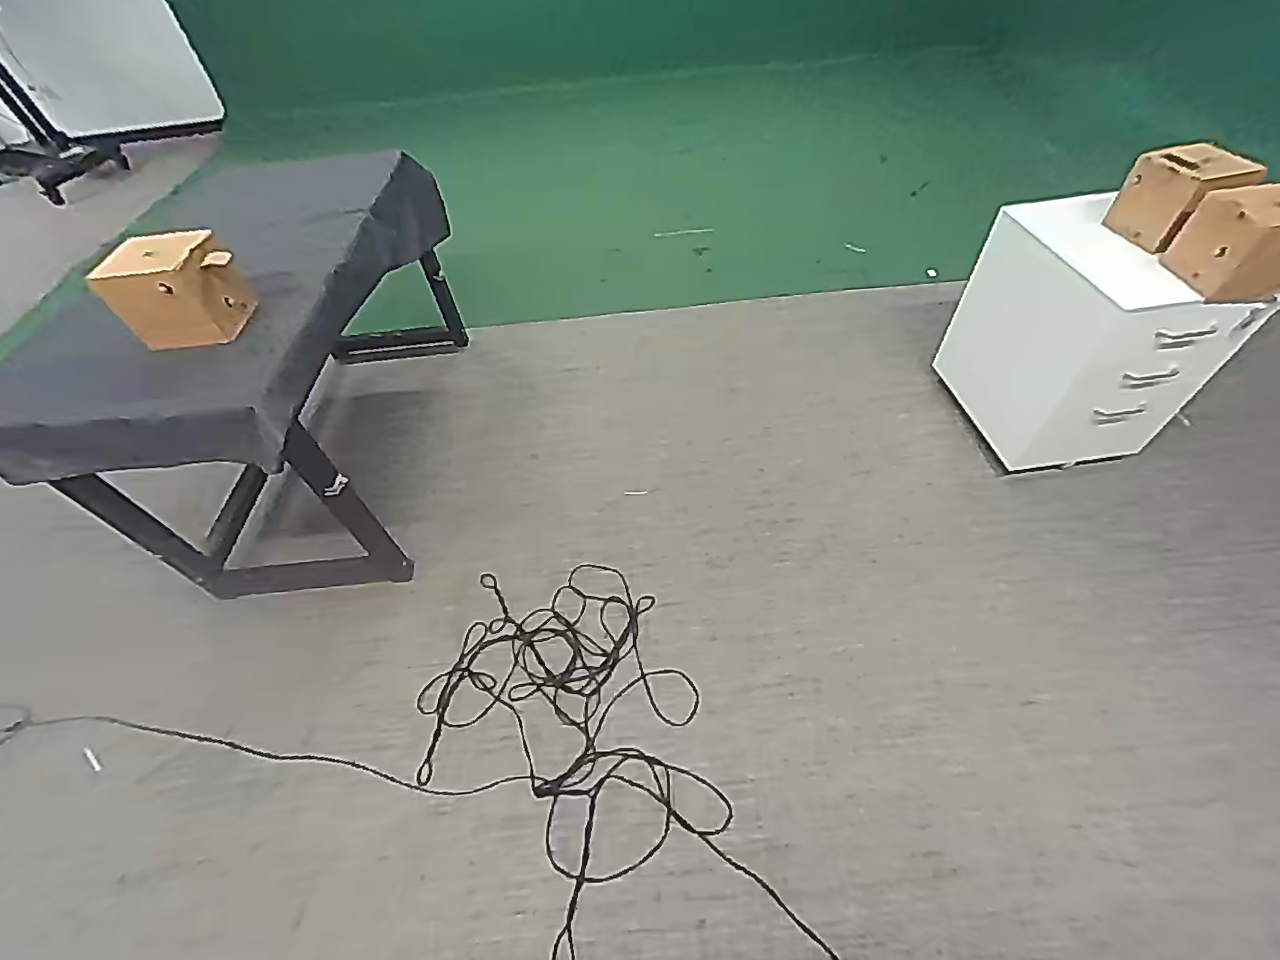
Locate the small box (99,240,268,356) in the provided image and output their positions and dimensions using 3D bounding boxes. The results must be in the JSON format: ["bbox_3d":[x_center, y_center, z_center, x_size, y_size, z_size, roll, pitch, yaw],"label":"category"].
[{"bbox_3d":[-0.941,-0.378,1.136,0.179,0.176,0.168,-6,49,1],"label":"small box"}]

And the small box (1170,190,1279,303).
[{"bbox_3d":[1.315,-0.499,1.165,0.179,0.176,0.168,-5,50,1],"label":"small box"}]
